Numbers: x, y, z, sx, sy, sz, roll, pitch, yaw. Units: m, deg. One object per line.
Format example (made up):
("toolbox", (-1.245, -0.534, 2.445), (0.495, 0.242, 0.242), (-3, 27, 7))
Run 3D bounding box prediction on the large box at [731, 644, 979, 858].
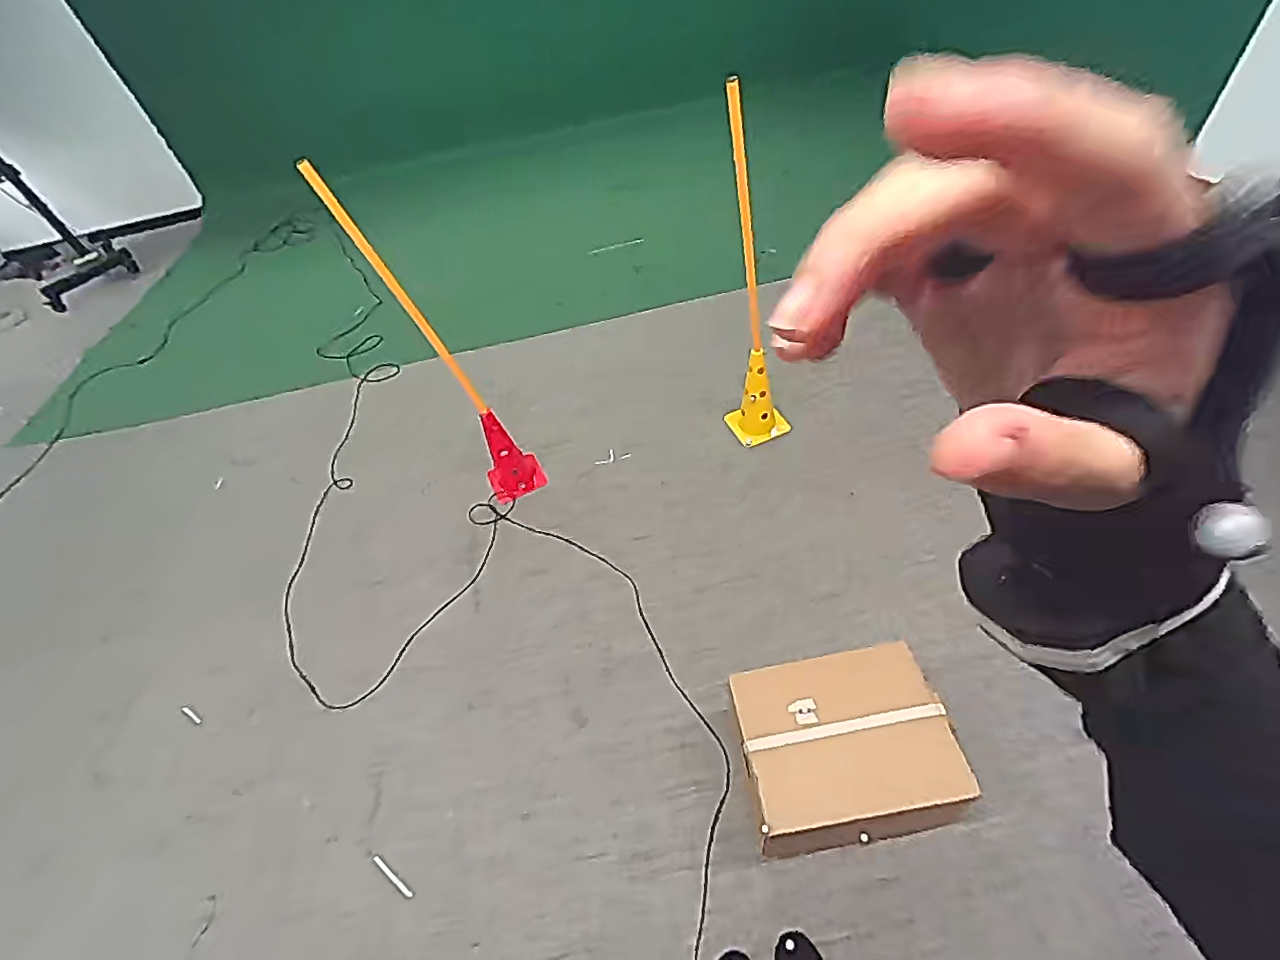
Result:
("large box", (0.443, 0.614, 1.215), (0.408, 0.320, 0.320), (-12, 47, 2))
